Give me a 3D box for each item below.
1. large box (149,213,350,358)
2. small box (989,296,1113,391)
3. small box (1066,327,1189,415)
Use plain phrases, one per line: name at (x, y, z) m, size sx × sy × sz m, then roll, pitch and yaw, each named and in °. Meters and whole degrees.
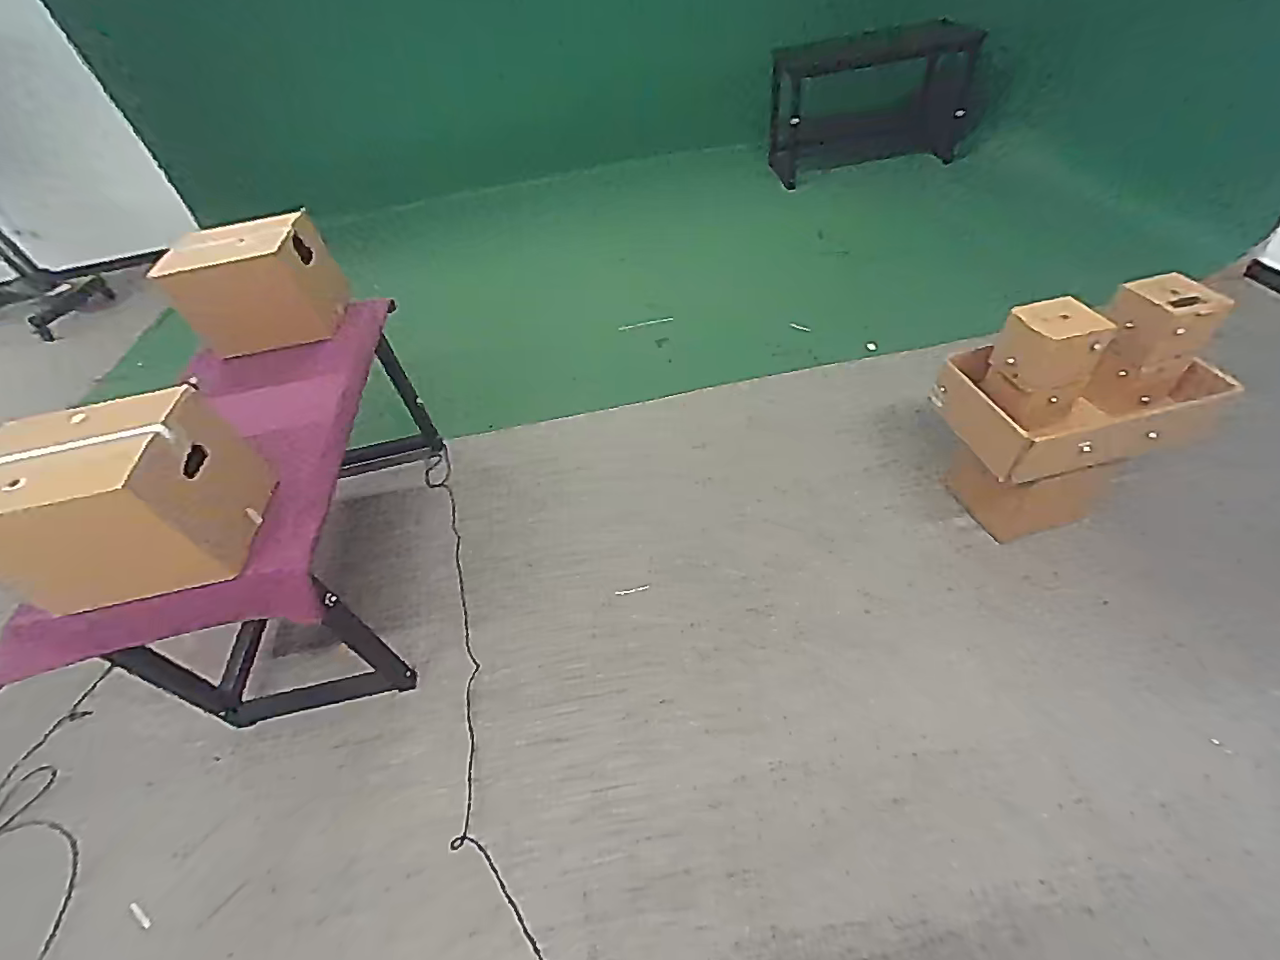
large box at (-1.281, -0.654, 1.826) m, size 0.408 × 0.320 × 0.320 m, roll -10°, pitch 49°, yaw 0°
small box at (1.093, -0.365, 1.456) m, size 0.179 × 0.176 × 0.168 m, roll -13°, pitch 47°, yaw -3°
small box at (1.420, -0.320, 1.592) m, size 0.168 × 0.176 × 0.179 m, roll -15°, pitch 48°, yaw -6°
